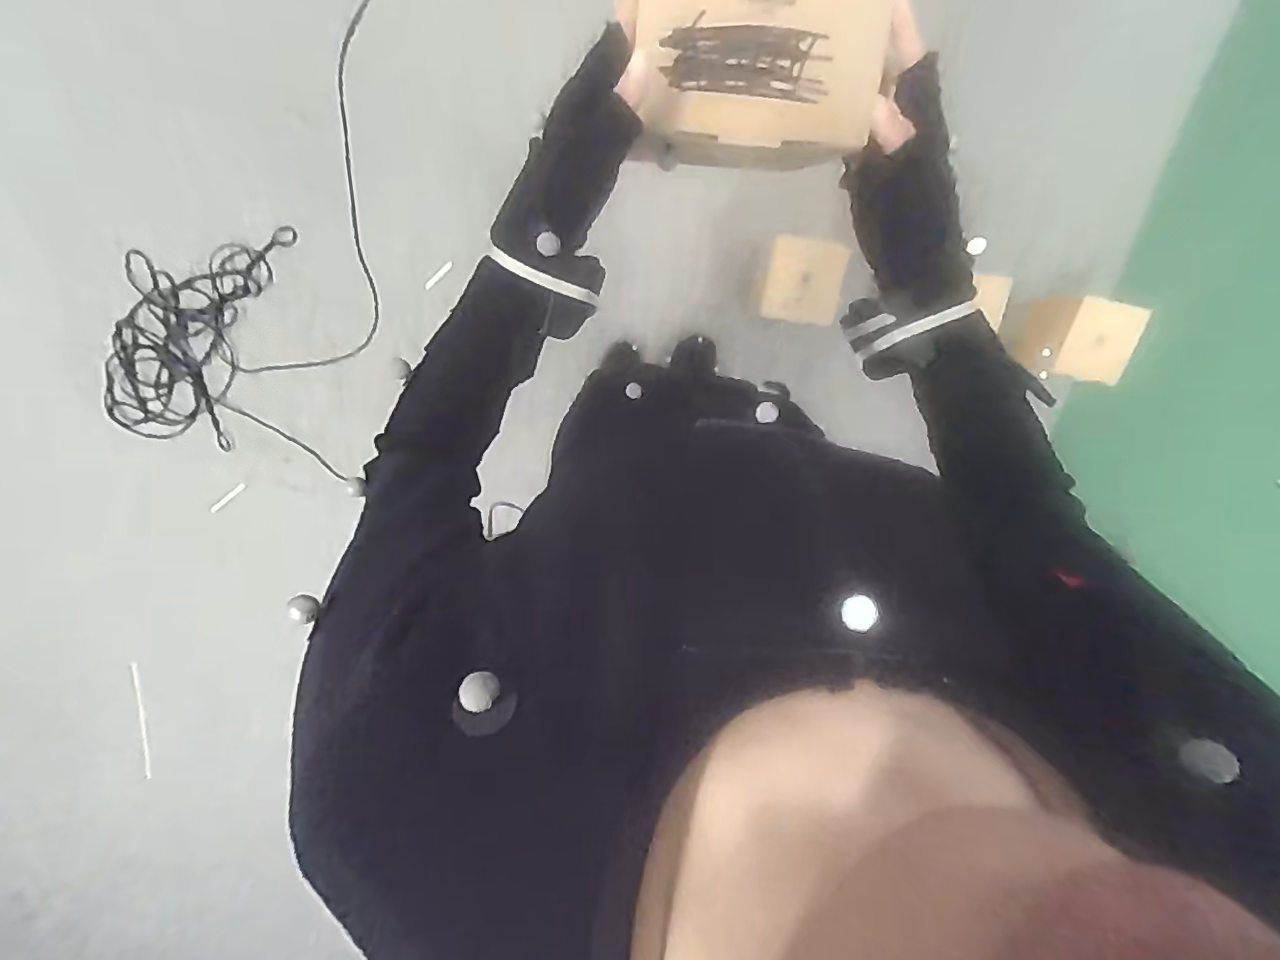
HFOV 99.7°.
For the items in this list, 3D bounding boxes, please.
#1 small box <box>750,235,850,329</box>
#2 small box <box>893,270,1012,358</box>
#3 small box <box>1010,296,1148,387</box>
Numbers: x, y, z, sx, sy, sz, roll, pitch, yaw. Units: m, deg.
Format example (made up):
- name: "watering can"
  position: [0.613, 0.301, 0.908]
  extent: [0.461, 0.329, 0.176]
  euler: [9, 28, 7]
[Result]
- name: "small box"
  position: [0.366, -0.460, 1.273]
  extent: [0.168, 0.176, 0.179]
  euler: [9, 108, -2]
- name: "small box"
  position: [0.735, -0.396, 1.296]
  extent: [0.168, 0.176, 0.179]
  euler: [6, 106, -2]
- name: "small box"
  position: [1.053, -0.339, 1.316]
  extent: [0.168, 0.176, 0.179]
  euler: [12, 107, -3]
